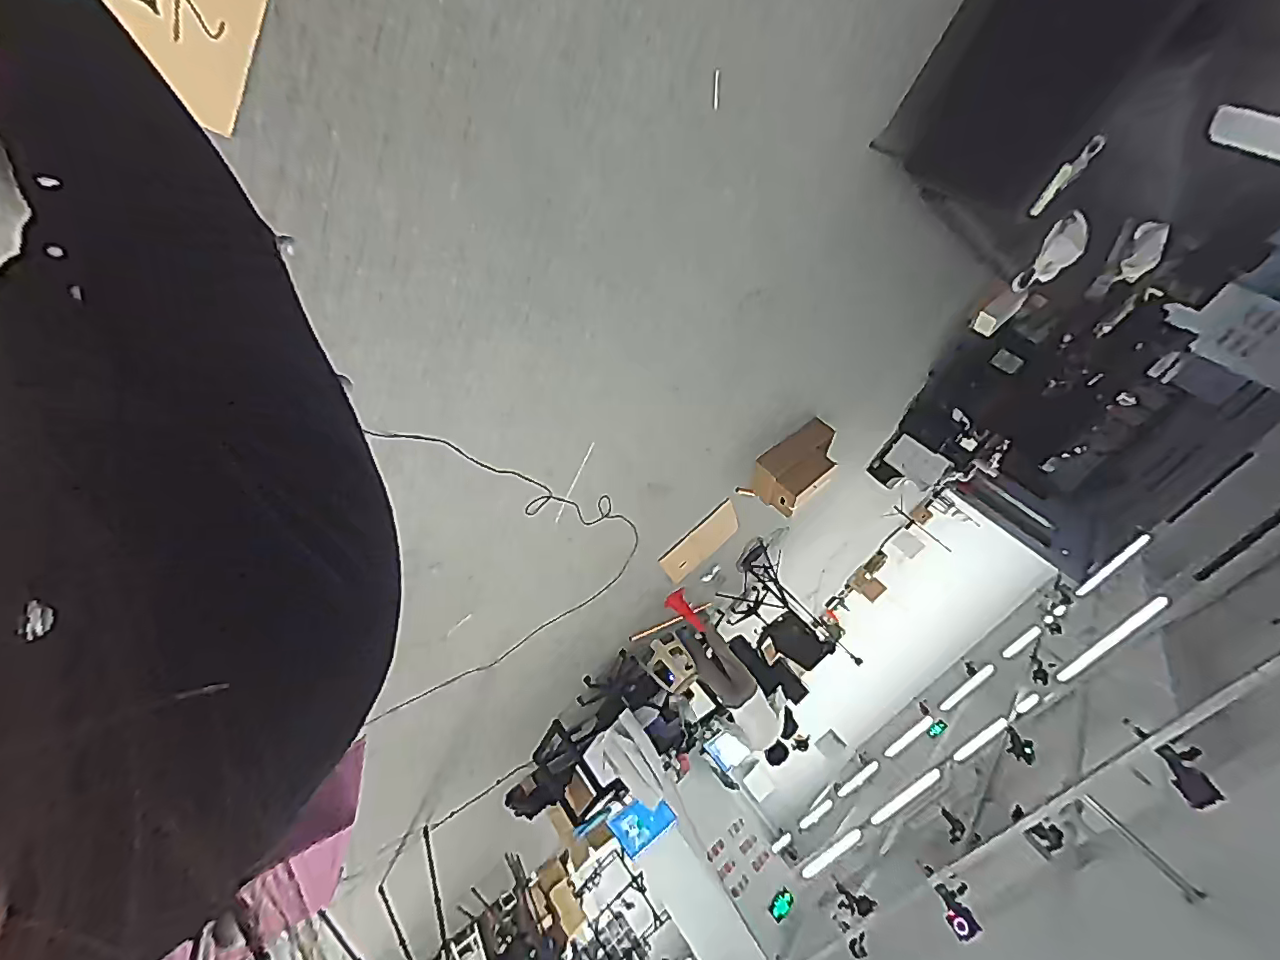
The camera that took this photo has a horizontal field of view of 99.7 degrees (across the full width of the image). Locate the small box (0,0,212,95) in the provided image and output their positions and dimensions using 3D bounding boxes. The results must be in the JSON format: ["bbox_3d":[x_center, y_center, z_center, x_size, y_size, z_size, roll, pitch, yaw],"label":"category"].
[{"bbox_3d":[-0.568,-0.555,0.562,0.168,0.176,0.179,-3,129,-51],"label":"small box"}]
